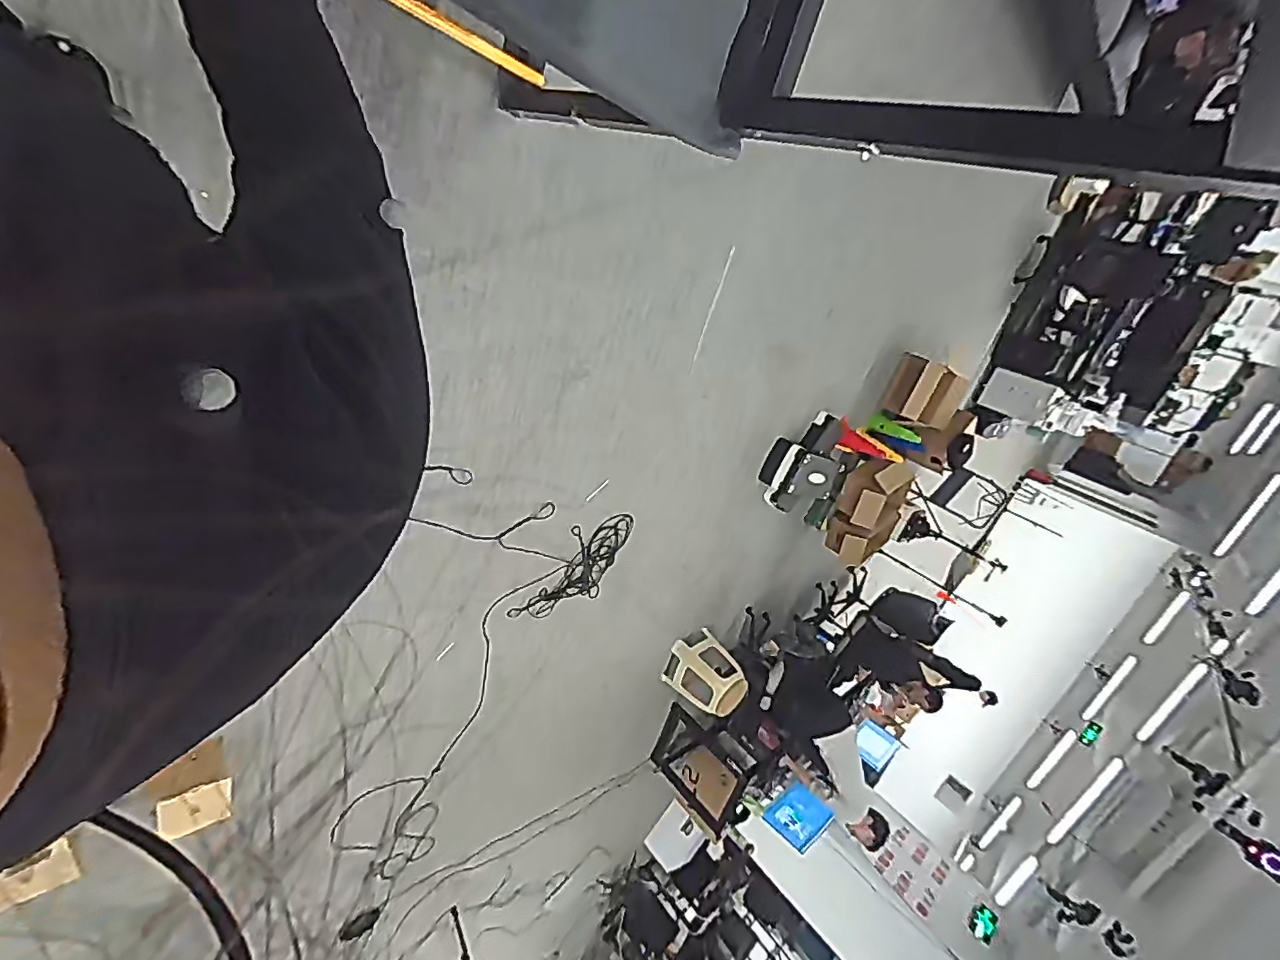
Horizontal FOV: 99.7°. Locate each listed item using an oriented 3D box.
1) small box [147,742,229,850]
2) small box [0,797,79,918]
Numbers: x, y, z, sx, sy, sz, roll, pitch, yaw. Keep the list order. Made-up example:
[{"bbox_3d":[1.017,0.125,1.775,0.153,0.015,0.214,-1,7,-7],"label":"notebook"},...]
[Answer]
[{"bbox_3d":[-1.315,0.910,1.574,0.168,0.176,0.179,-8,122,-45],"label":"small box"},{"bbox_3d":[-1.537,0.933,1.348,0.168,0.176,0.179,-12,126,-42],"label":"small box"}]
